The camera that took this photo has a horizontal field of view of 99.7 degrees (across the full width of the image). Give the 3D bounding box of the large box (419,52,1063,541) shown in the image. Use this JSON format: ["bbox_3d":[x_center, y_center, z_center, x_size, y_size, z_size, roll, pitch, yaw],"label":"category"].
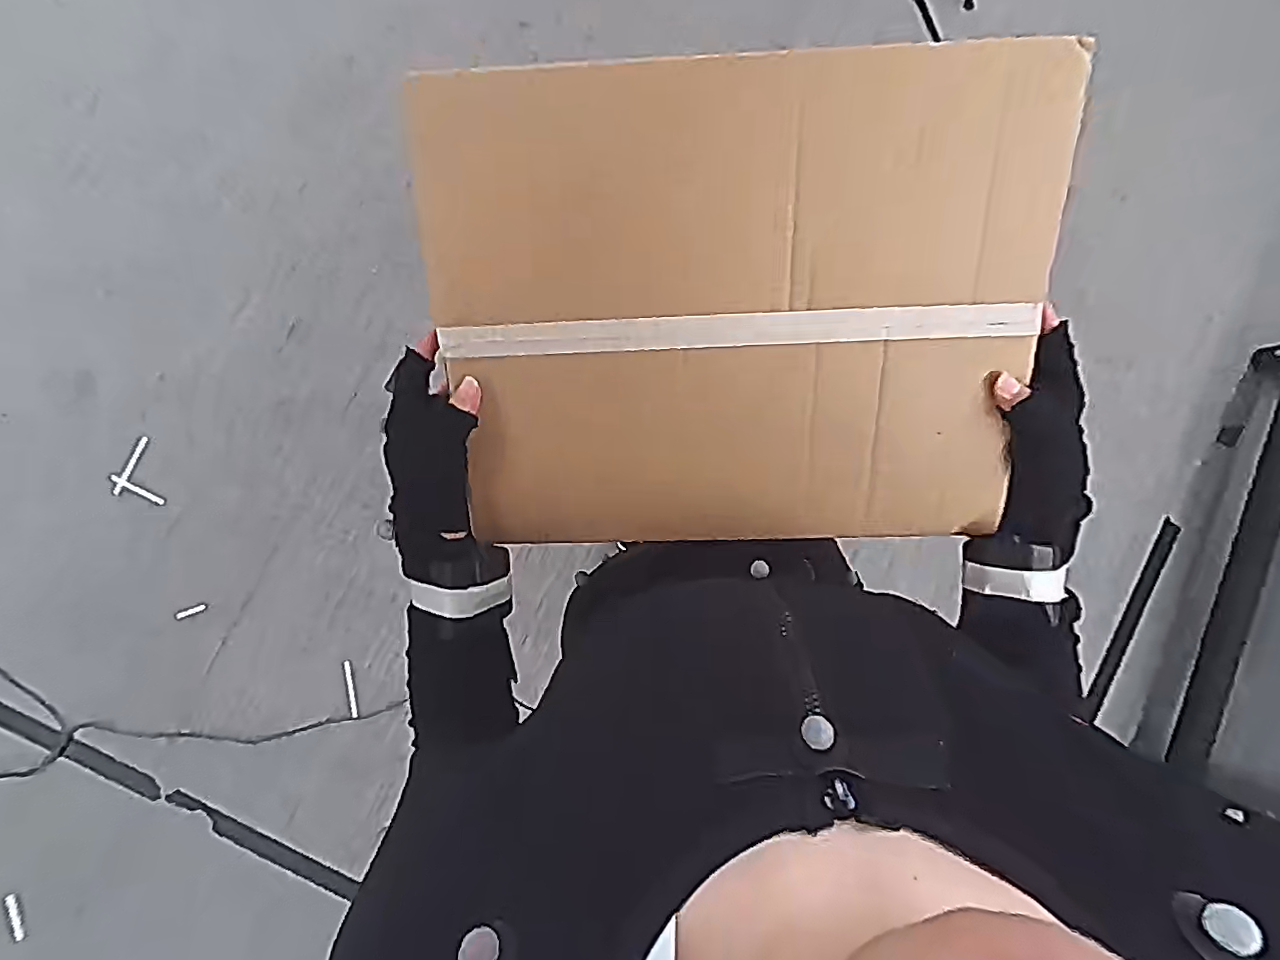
[{"bbox_3d":[0.068,-0.153,0.521,0.408,0.320,0.320,-2,111,3],"label":"large box"}]
